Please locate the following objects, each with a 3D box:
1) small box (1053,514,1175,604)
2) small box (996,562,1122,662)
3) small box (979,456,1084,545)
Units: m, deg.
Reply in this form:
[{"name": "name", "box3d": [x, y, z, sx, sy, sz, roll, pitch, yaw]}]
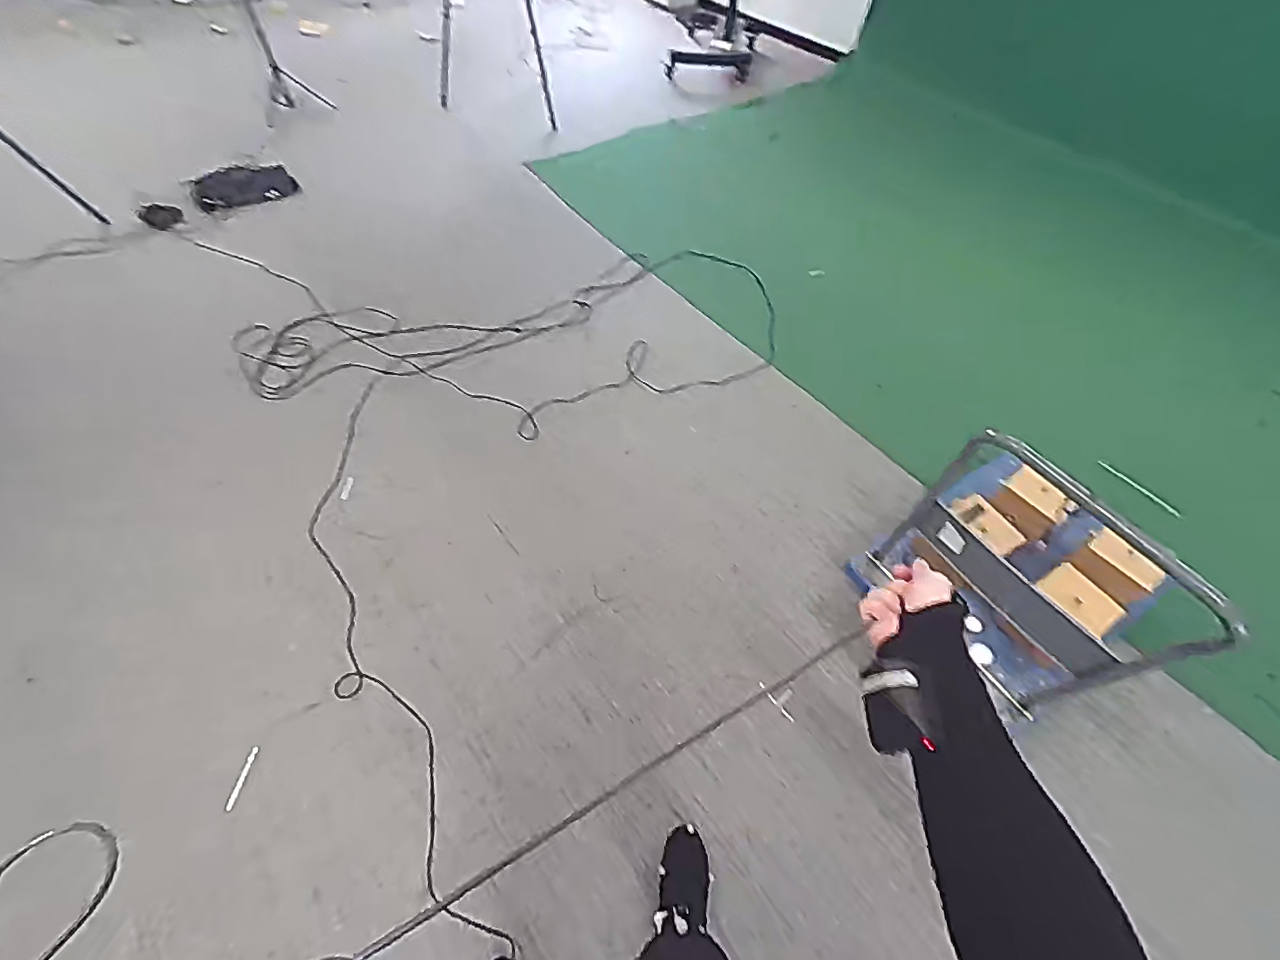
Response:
[{"name": "small box", "box3d": [1.324, 0.234, 1.524, 0.179, 0.176, 0.168, -32, 61, -21]}, {"name": "small box", "box3d": [1.098, 0.353, 1.435, 0.179, 0.176, 0.168, -27, 60, -19]}, {"name": "small box", "box3d": [1.171, 0.068, 1.635, 0.179, 0.176, 0.168, -31, 62, -21]}]
